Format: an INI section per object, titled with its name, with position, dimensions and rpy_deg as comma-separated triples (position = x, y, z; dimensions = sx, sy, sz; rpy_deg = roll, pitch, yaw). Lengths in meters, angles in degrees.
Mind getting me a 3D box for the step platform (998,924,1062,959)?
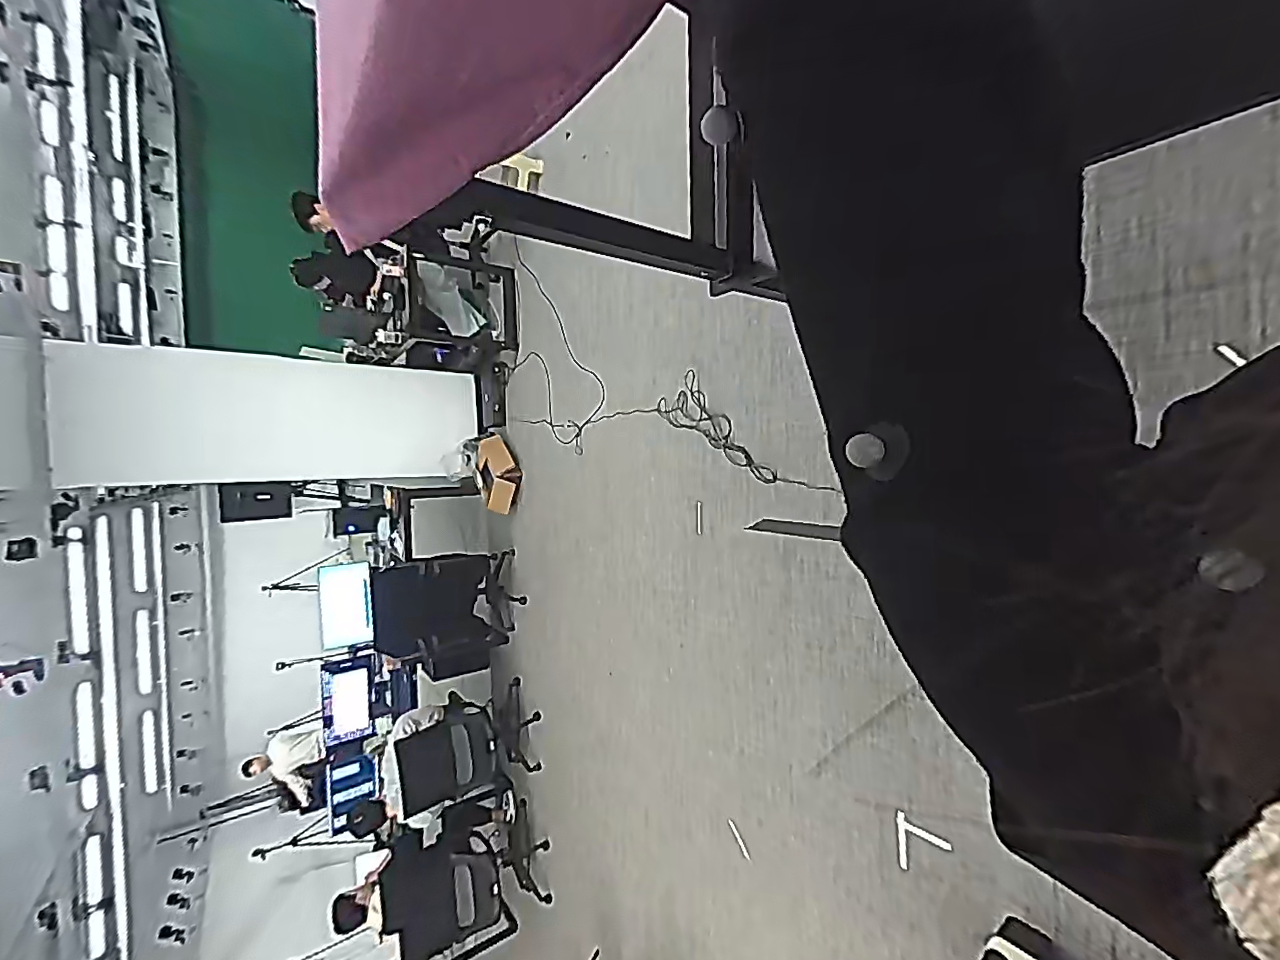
[step platform]
position = 1.075, 1.289, 1.066
dimensions = 0.684, 0.204, 0.286
rpy_deg = 12, 102, 53
